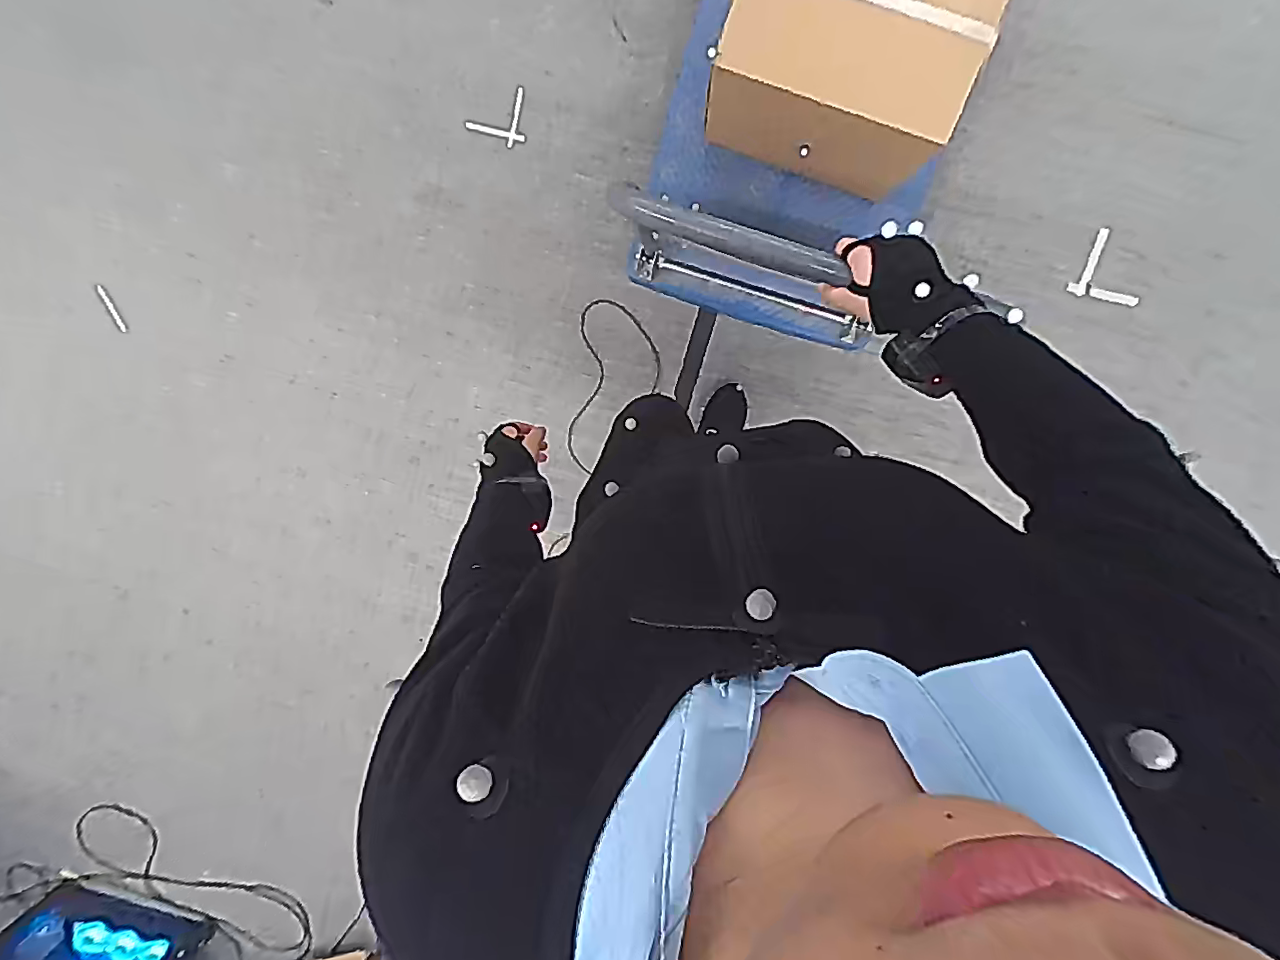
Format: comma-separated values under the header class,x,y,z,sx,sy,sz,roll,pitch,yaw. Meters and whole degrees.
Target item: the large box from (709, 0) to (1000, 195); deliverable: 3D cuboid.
class,x,y,z,sx,sy,sz,roll,pitch,yaw
large box,0.370,-0.785,1.001,0.408,0.320,0.320,19,101,1
